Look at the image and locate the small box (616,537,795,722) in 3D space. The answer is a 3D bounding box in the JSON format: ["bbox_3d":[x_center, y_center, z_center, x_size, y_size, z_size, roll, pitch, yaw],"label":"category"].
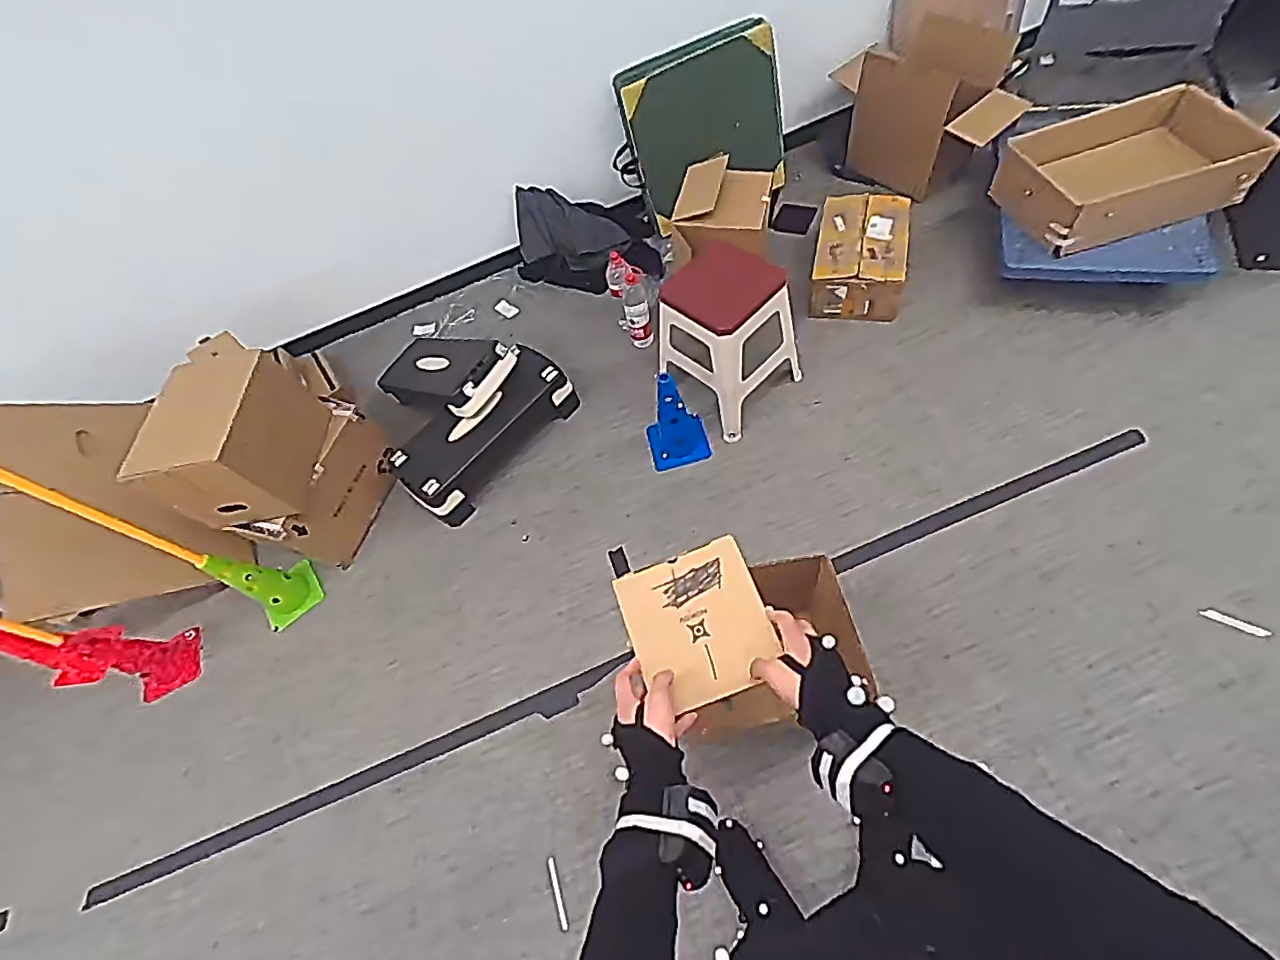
[{"bbox_3d":[0.085,0.201,0.709,0.168,0.176,0.179,-22,66,3],"label":"small box"}]
